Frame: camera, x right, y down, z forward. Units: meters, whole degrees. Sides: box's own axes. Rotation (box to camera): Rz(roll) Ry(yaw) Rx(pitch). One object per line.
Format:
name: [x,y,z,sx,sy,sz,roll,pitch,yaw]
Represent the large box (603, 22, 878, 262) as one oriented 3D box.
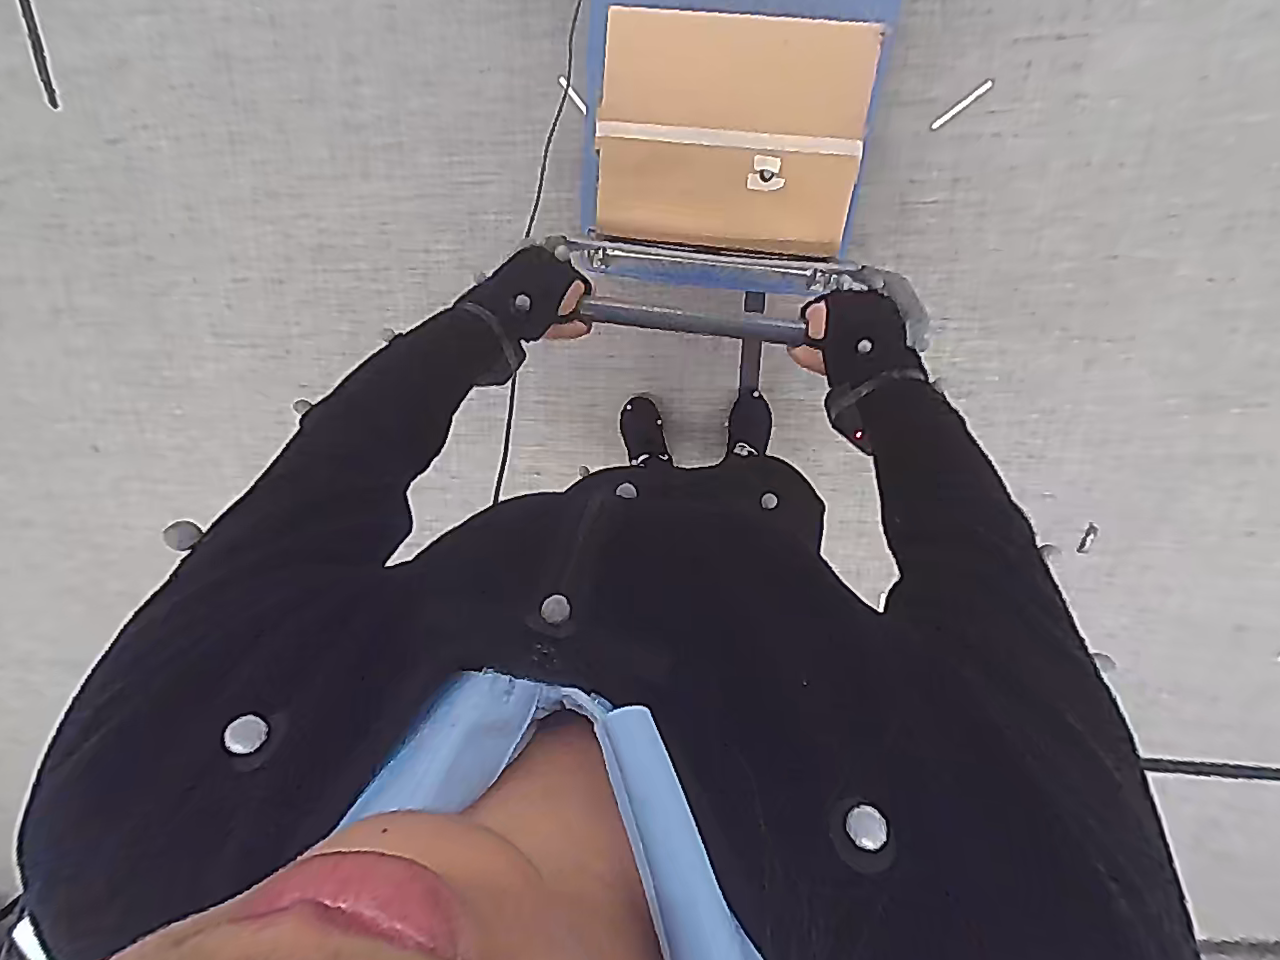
large box: [0.156,-0.584,0.998,0.408,0.320,0.320,7,113,4]
